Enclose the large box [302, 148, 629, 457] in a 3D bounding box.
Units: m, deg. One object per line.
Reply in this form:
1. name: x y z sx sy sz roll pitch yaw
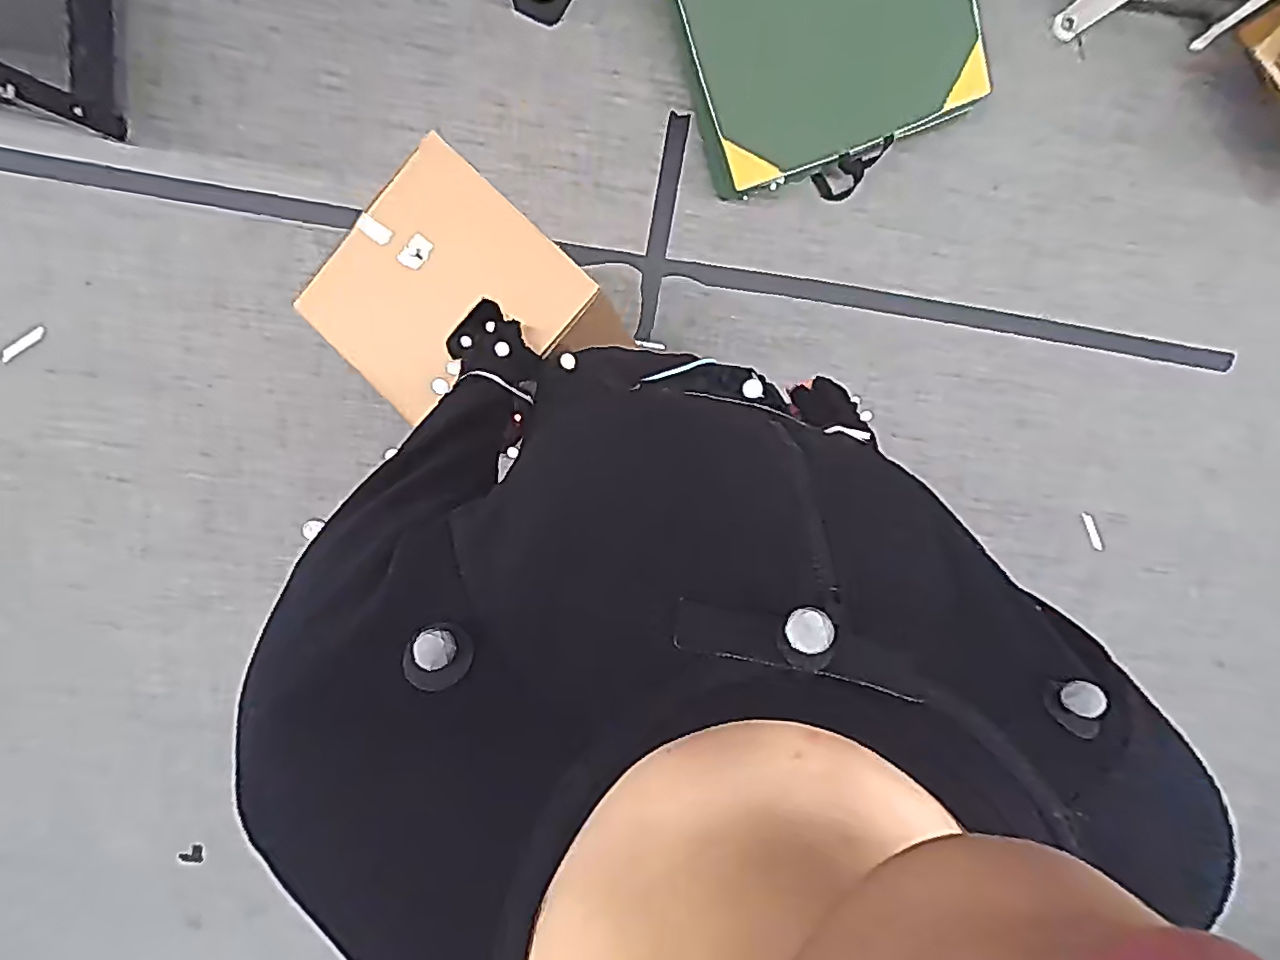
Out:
1. large box: -0.256 -0.261 0.934 0.320 0.408 0.320 44 98 2
